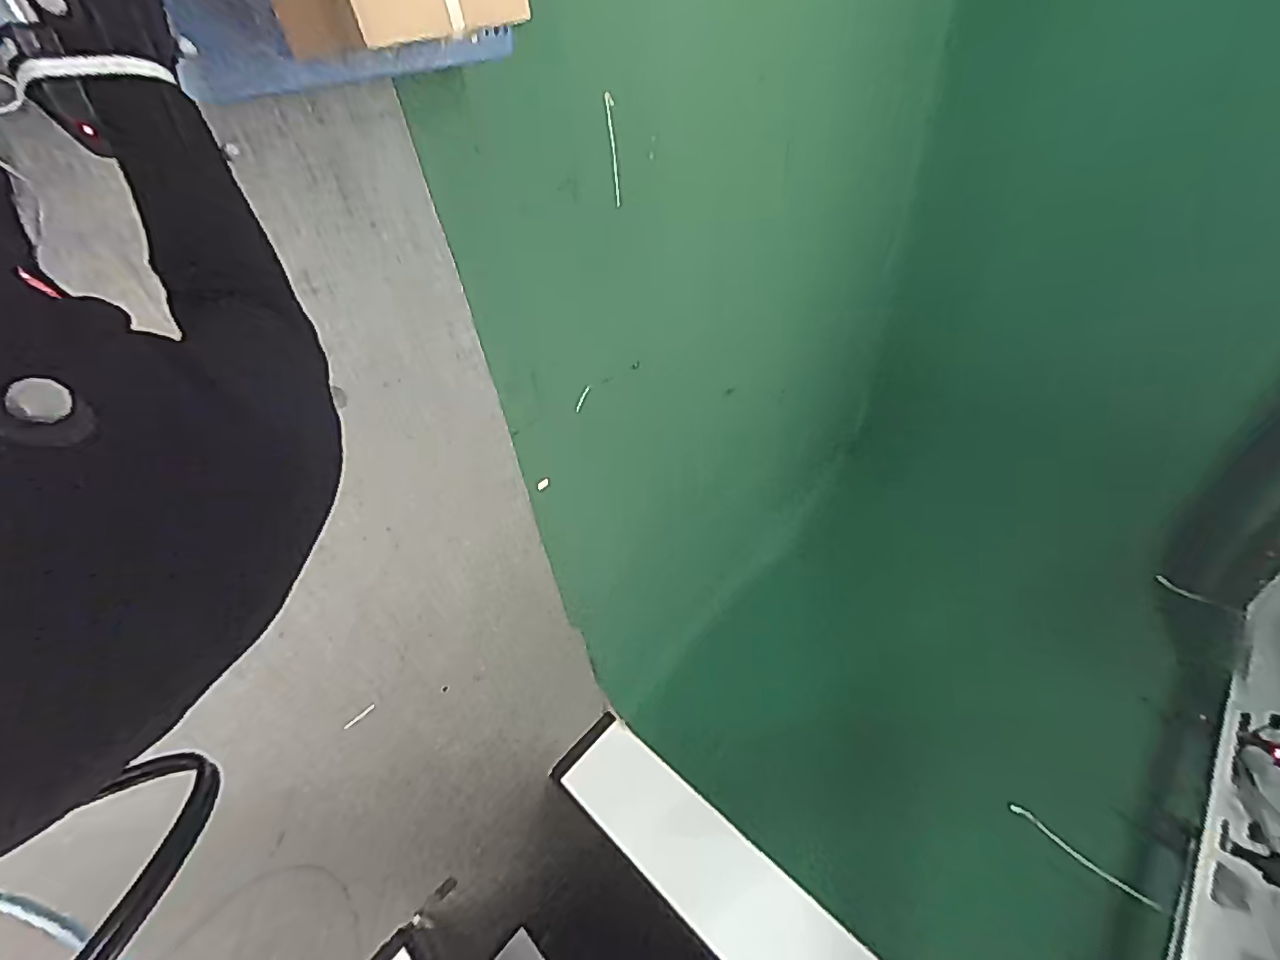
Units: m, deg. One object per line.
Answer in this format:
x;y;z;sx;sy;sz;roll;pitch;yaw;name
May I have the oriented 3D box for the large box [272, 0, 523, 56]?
-0.441;-0.936;0.824;0.320;0.320;0.408;-40;139;-28;large box
